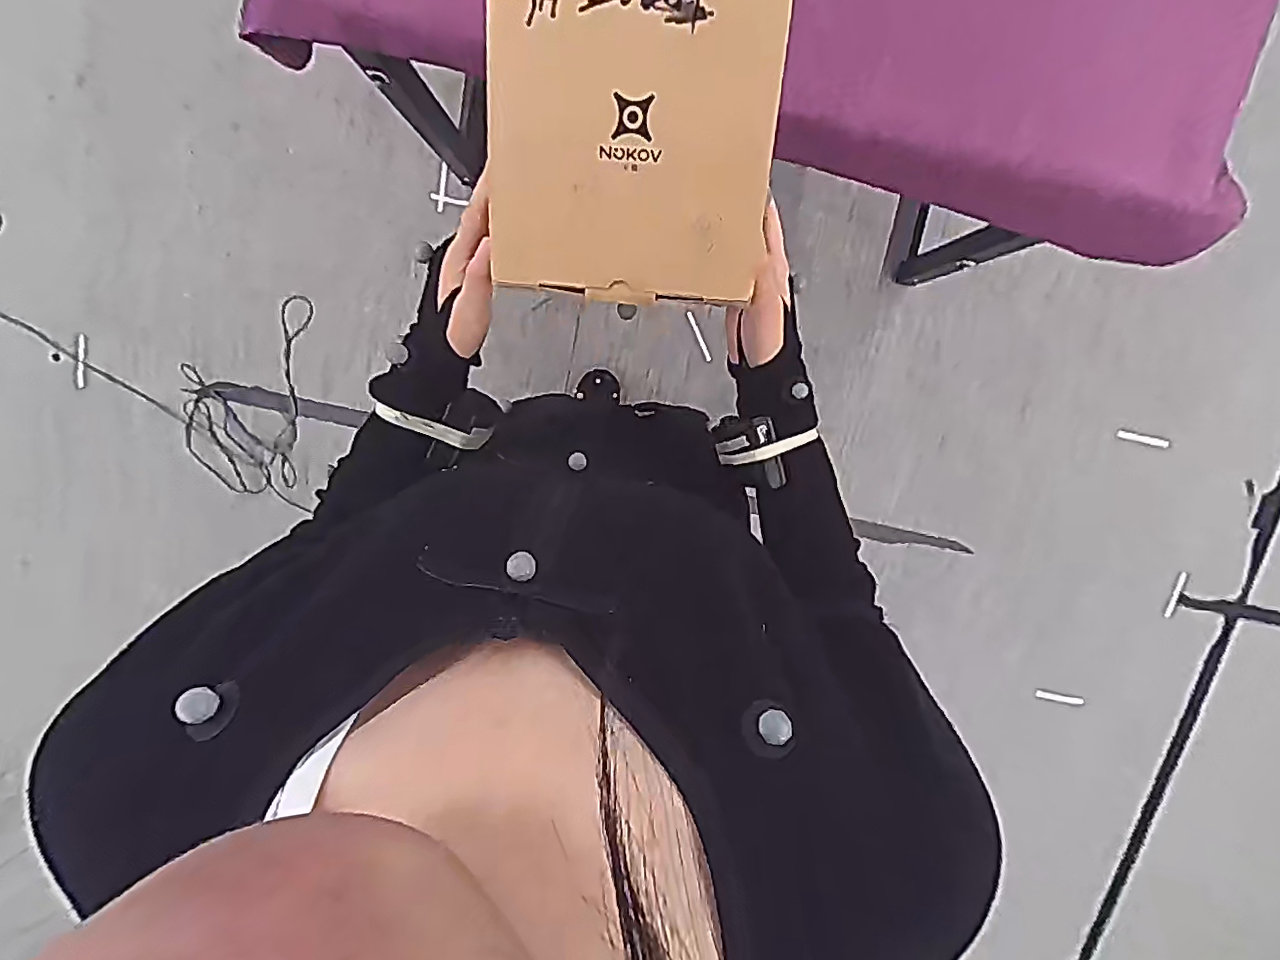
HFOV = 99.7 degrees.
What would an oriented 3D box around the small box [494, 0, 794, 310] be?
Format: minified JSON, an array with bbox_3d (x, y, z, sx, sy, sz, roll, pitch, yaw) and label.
[{"bbox_3d":[0.000,-0.224,0.392,0.168,0.176,0.179,5,109,1],"label":"small box"}]
